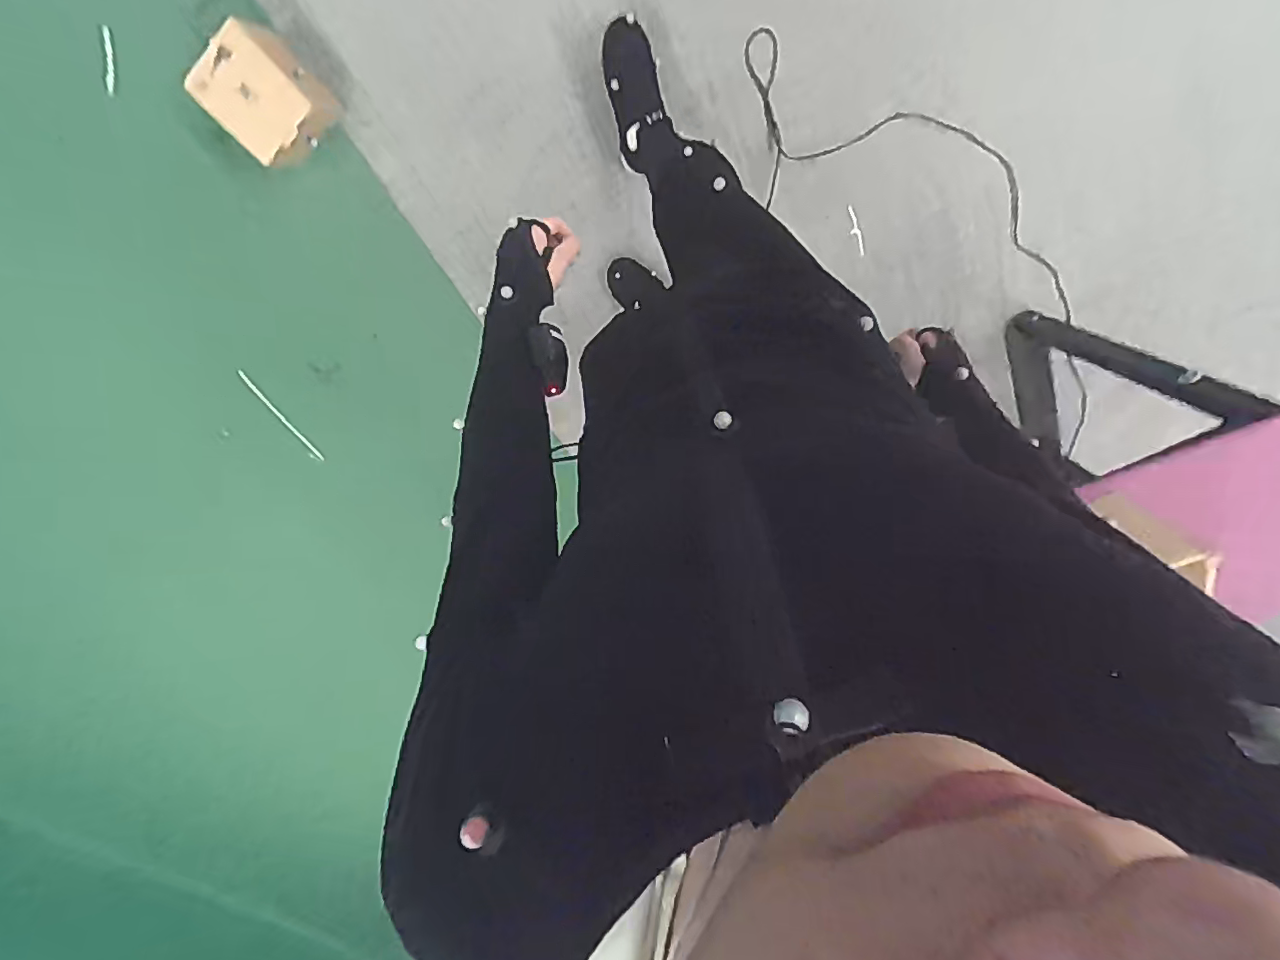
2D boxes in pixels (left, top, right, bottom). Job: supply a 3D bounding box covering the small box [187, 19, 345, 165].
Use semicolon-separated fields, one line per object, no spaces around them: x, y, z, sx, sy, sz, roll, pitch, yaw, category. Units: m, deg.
-0.751;-0.786;1.110;0.168;0.176;0.179;-35;118;16;small box
